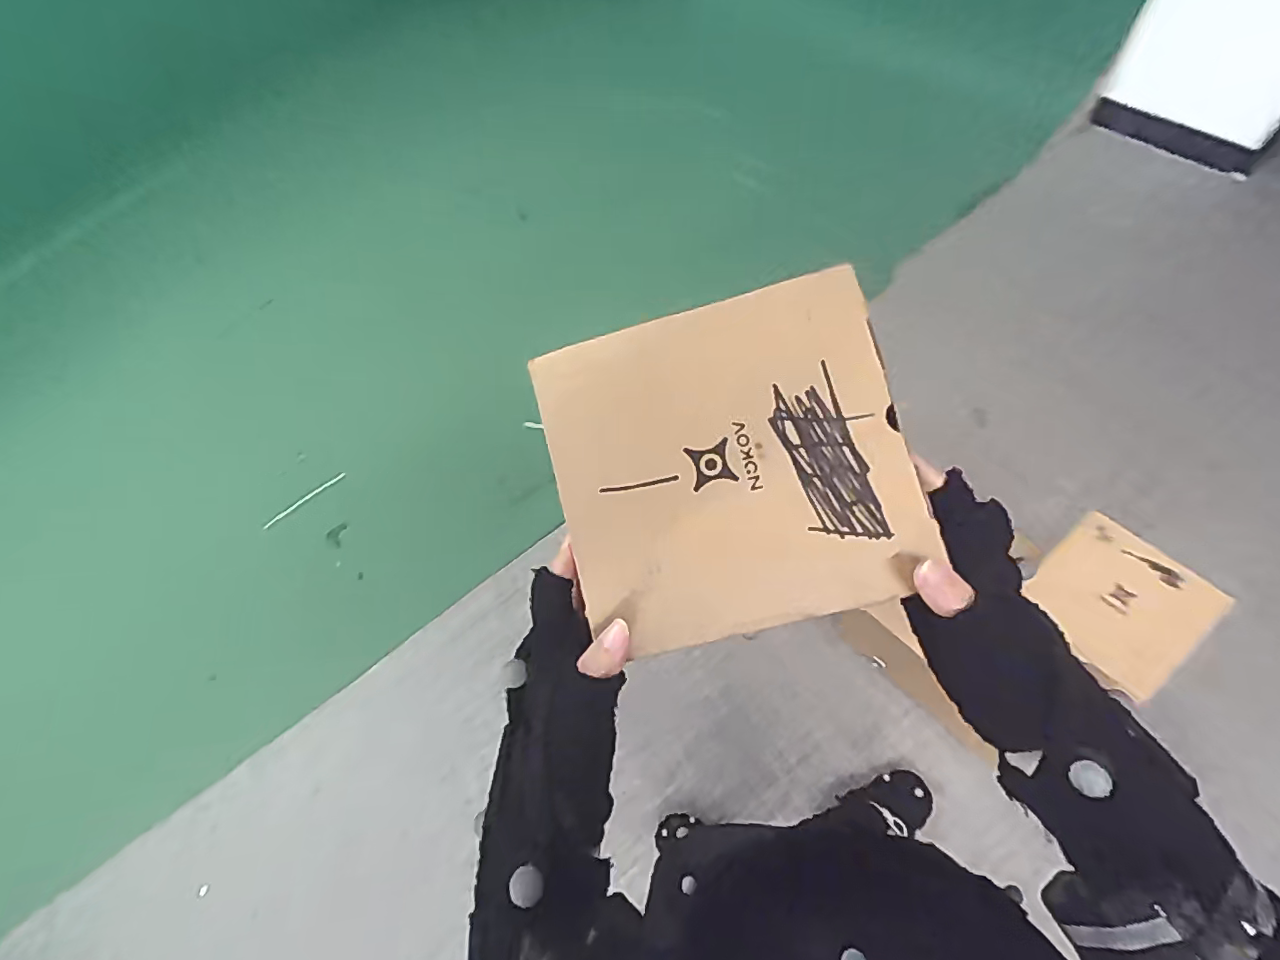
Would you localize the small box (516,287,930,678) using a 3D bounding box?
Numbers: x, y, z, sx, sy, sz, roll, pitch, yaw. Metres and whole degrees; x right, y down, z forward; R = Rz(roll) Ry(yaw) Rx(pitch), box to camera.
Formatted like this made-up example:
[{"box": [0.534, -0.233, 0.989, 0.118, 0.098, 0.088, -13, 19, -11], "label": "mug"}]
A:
[{"box": [0.044, 0.008, 0.349, 0.179, 0.176, 0.168, -15, 81, 5], "label": "small box"}]

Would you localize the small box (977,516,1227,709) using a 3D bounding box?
[{"box": [0.593, 0.186, 0.729, 0.179, 0.176, 0.168, -41, 62, -7], "label": "small box"}]
